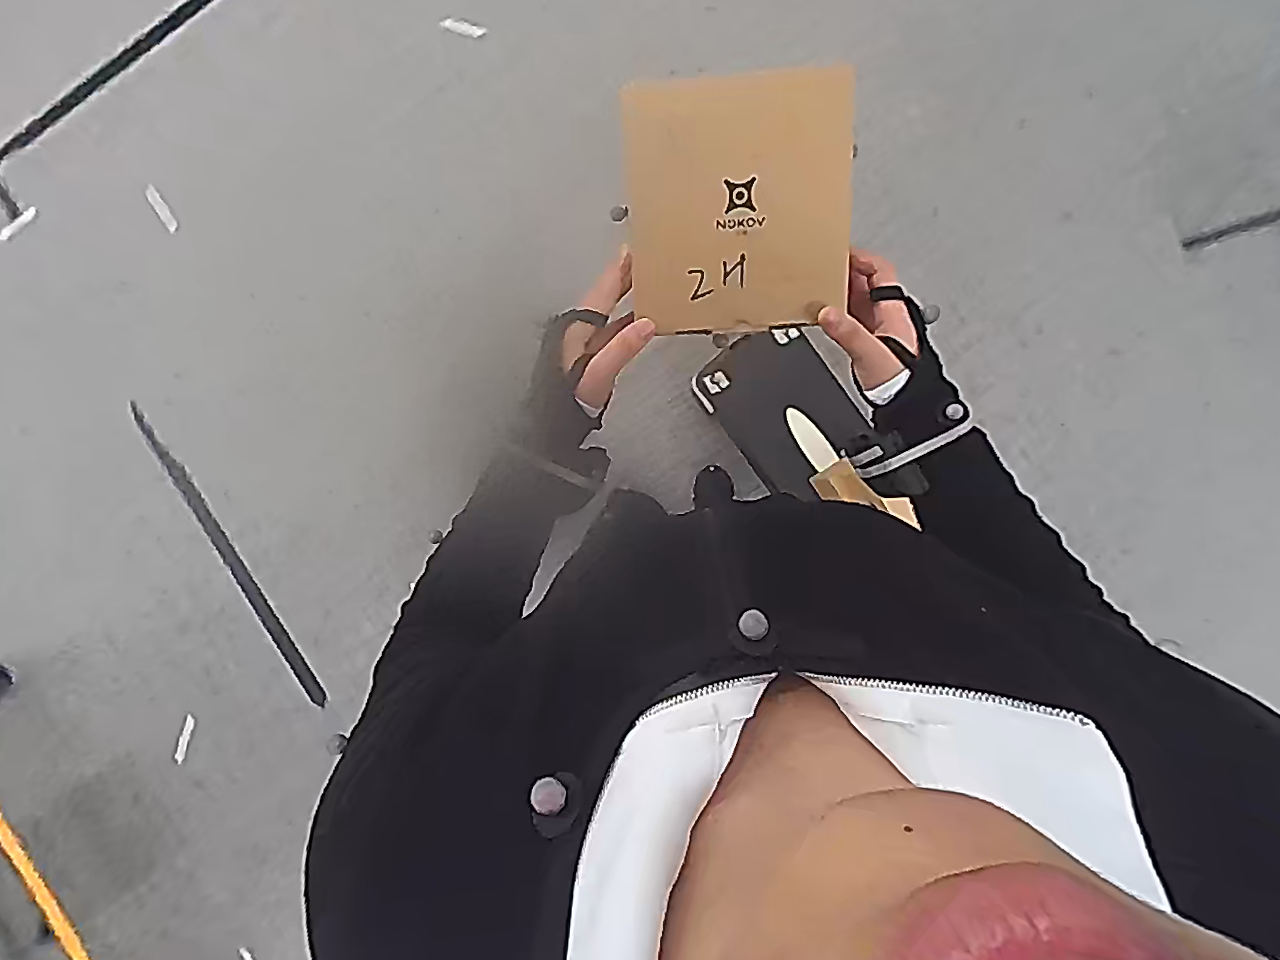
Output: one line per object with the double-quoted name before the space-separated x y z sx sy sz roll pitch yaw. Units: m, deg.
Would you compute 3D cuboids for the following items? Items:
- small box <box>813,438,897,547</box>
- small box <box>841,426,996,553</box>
"small box" 0.510 0.025 1.200 0.168 0.176 0.179 -34 88 2
"small box" 0.518 0.018 1.036 0.168 0.176 0.179 -31 88 3
